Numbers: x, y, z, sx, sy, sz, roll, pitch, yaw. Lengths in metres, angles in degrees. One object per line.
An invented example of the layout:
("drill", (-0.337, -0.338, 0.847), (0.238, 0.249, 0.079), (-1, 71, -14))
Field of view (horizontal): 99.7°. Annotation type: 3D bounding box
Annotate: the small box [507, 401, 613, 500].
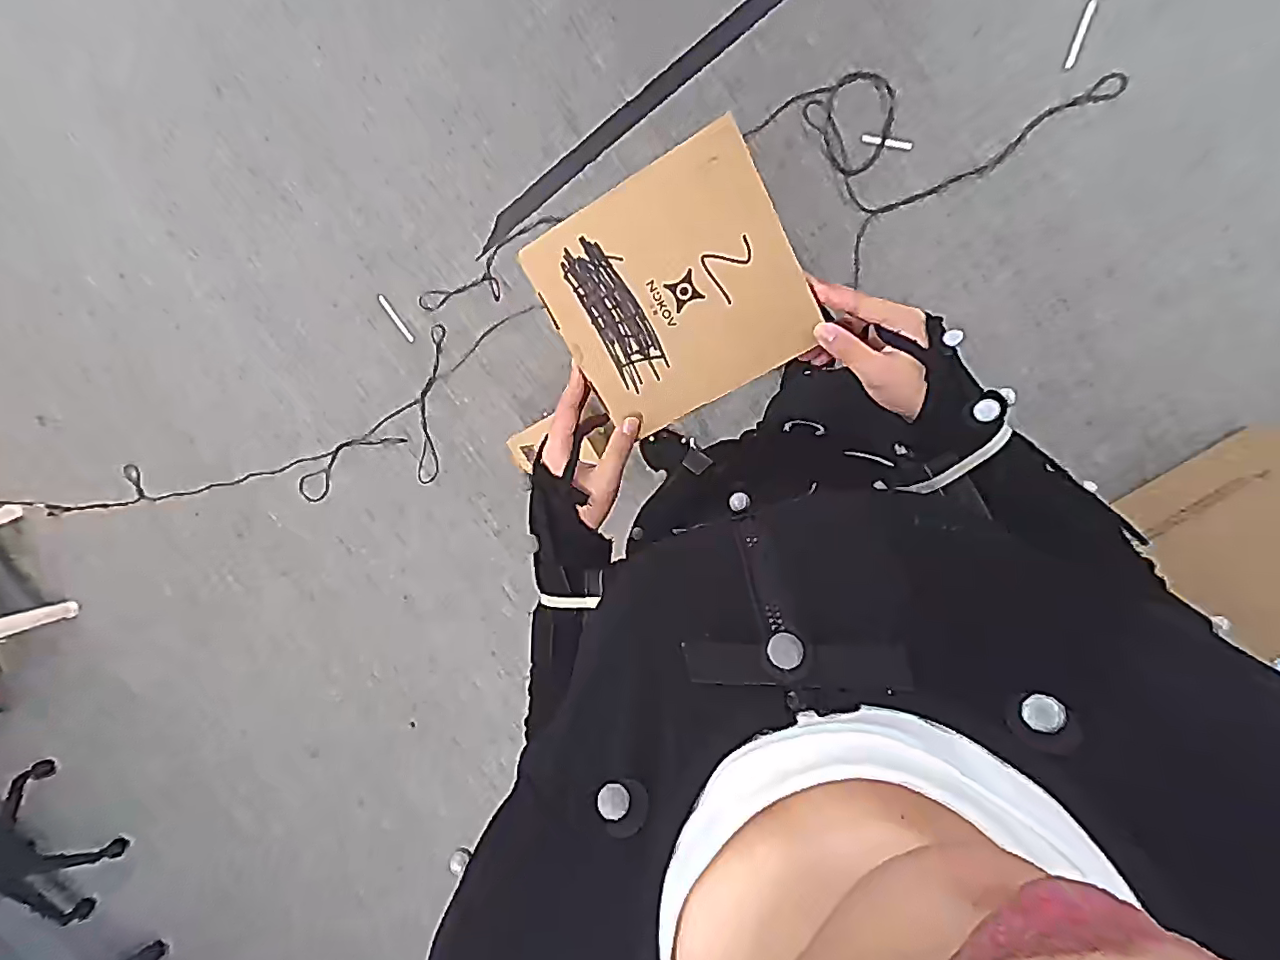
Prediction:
("small box", (-0.185, -0.076, 1.304), (0.179, 0.176, 0.168), (-28, 98, 11))
